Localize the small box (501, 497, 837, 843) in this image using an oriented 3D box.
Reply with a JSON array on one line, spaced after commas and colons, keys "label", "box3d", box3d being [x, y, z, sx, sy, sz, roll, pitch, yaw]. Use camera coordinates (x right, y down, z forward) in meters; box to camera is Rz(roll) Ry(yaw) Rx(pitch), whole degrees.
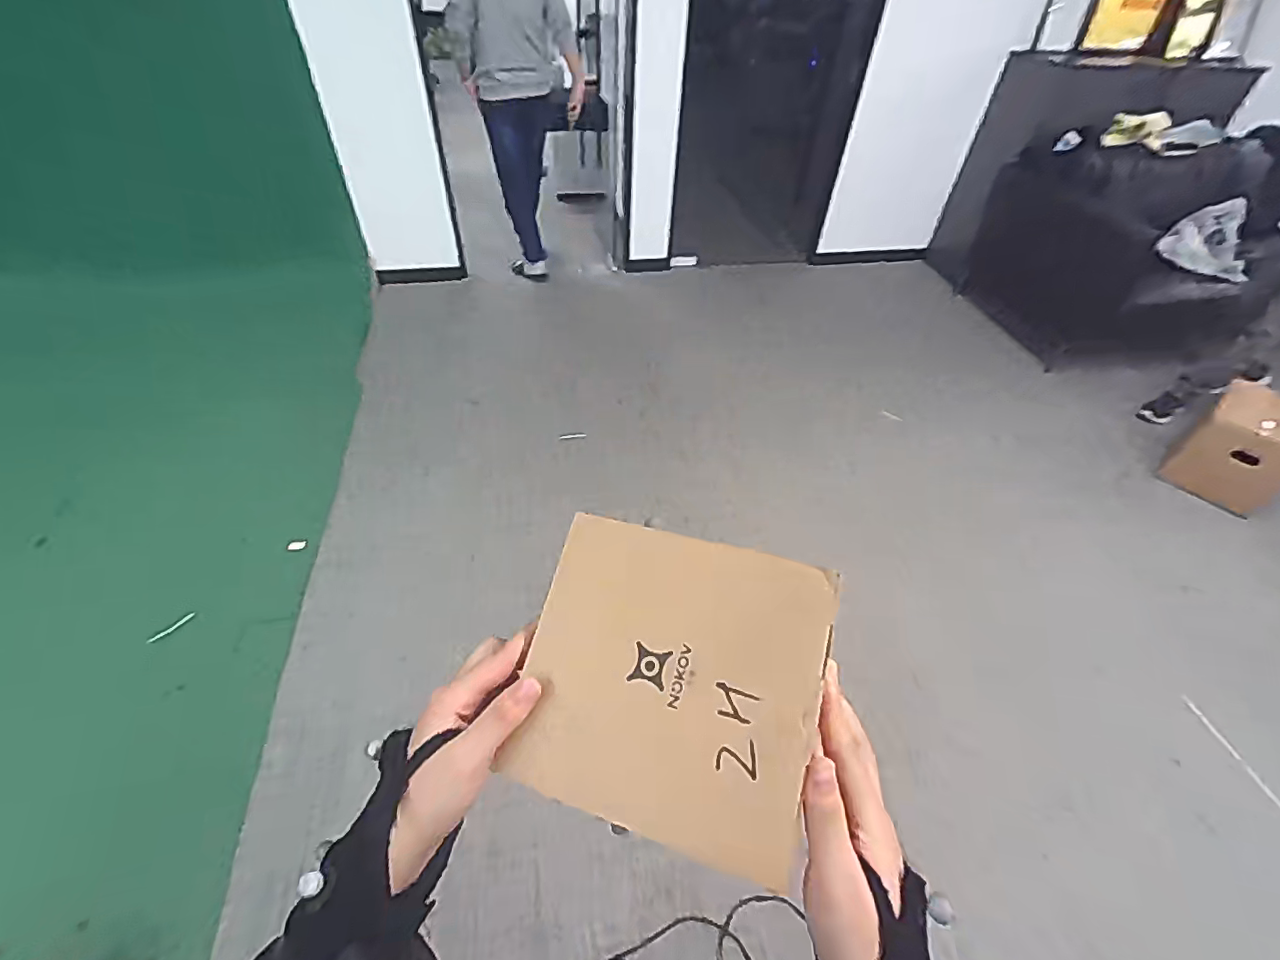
[{"label": "small box", "box3d": [0.034, 0.130, 0.402, 0.179, 0.176, 0.168, 11, 72, 17]}]
